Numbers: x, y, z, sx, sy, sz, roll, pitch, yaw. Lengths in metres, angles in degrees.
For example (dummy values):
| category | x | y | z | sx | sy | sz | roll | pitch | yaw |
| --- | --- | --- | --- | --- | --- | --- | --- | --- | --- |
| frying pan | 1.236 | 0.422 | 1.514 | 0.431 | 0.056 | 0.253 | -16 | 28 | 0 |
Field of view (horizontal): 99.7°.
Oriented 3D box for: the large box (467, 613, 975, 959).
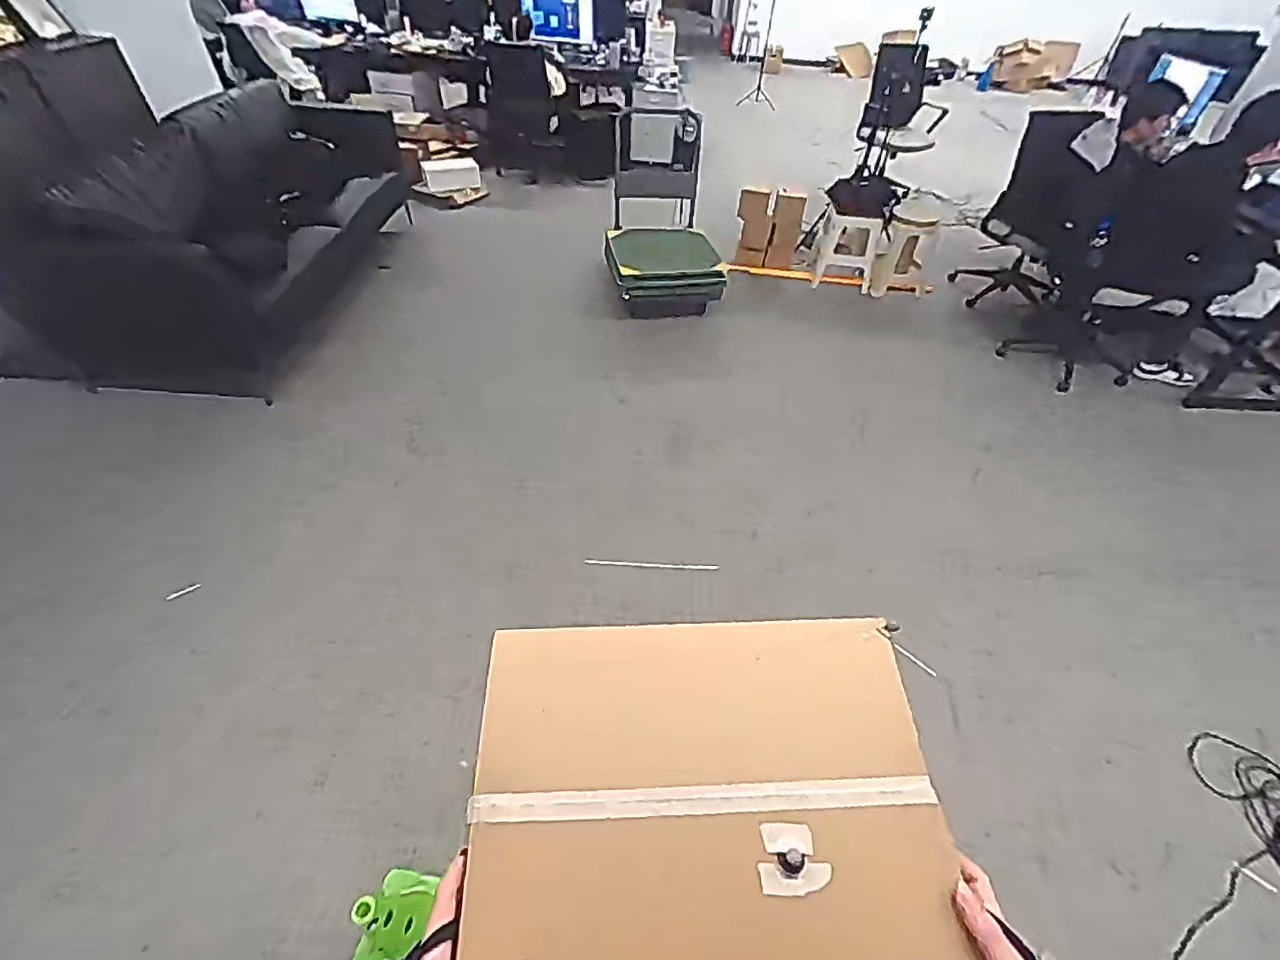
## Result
| category | x | y | z | sx | sy | sz | roll | pitch | yaw |
| --- | --- | --- | --- | --- | --- | --- | --- | --- | --- |
| large box | 0.055 | 0.359 | 0.609 | 0.408 | 0.320 | 0.320 | -2 | 57 | -1 |

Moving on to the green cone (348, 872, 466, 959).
| category | x | y | z | sx | sy | sz | roll | pitch | yaw |
| --- | --- | --- | --- | --- | --- | --- | --- | --- | --- |
| green cone | -0.510 | 0.902 | 1.095 | 0.200 | 0.368 | 0.202 | 8 | 47 | 4 |
